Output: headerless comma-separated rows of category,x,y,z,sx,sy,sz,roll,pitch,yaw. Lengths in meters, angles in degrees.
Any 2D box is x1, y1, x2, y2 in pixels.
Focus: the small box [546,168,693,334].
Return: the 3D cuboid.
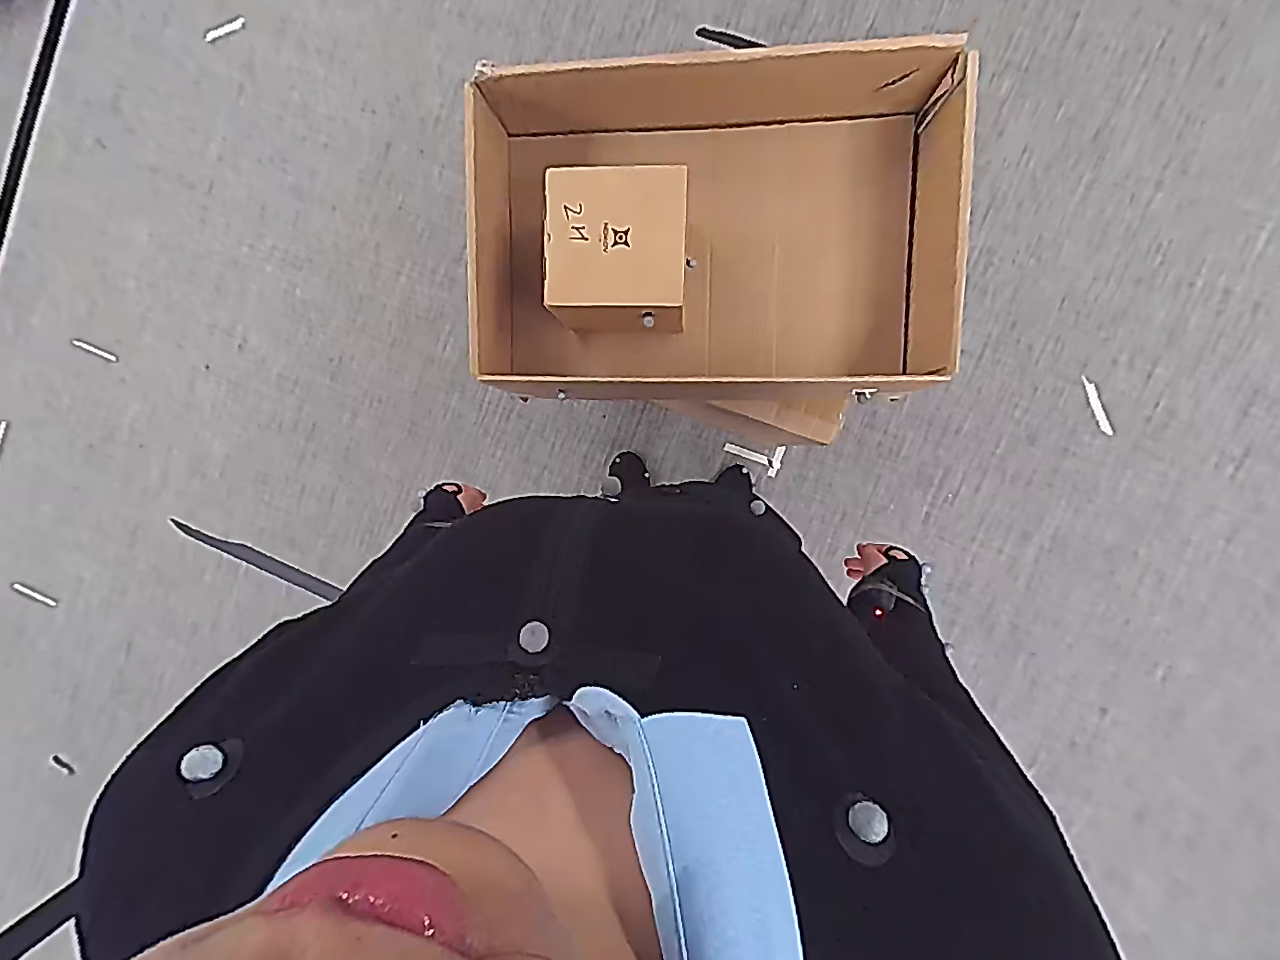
small box,-0.021,-0.300,0.736,0.179,0.176,0.168,2,94,5
